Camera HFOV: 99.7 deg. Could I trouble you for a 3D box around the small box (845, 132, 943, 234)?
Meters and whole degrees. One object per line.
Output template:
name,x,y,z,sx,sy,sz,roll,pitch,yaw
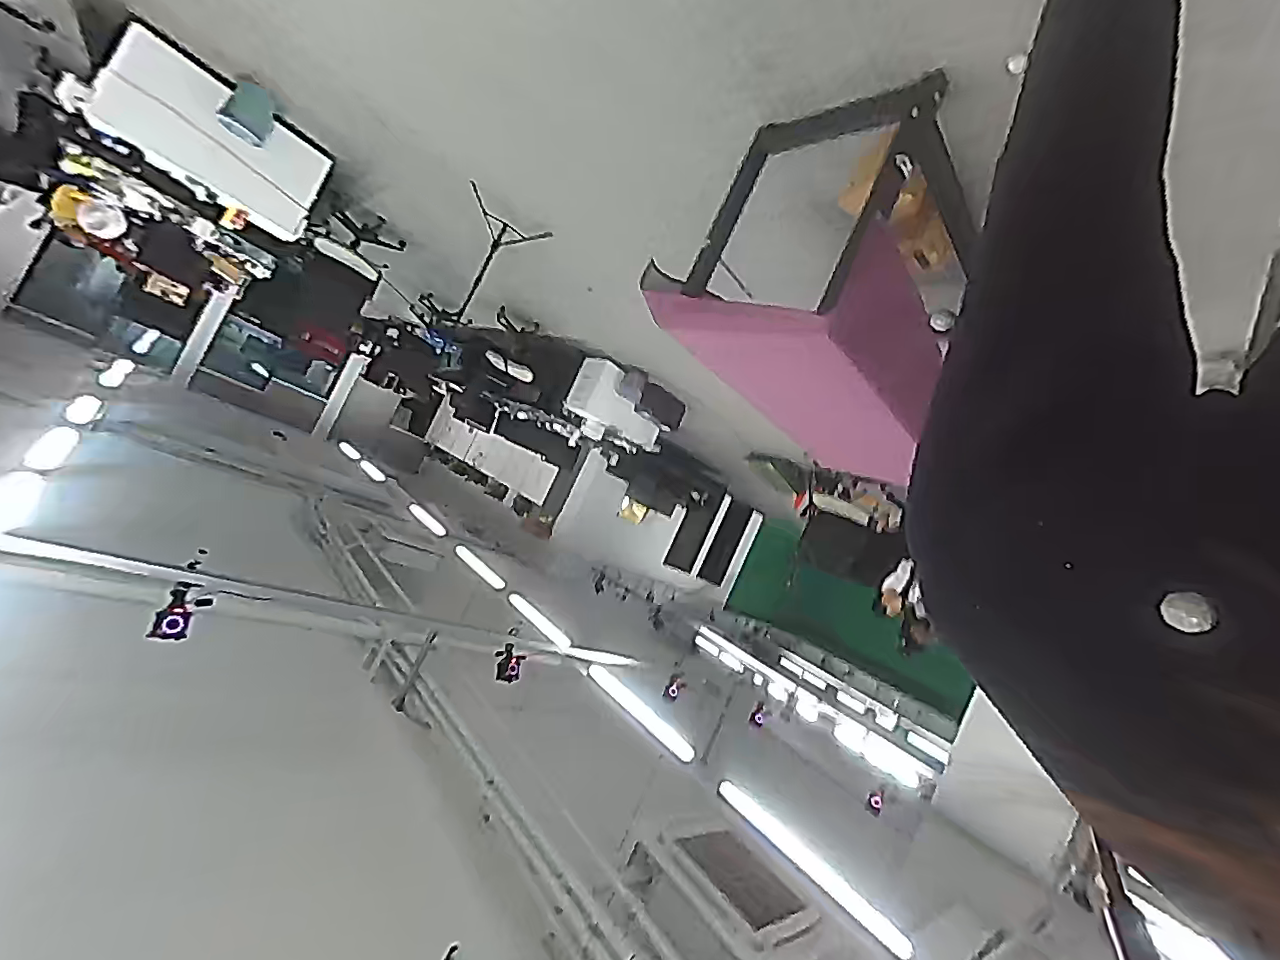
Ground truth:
small box,0.758,-0.880,1.611,0.168,0.176,0.179,26,177,-13
